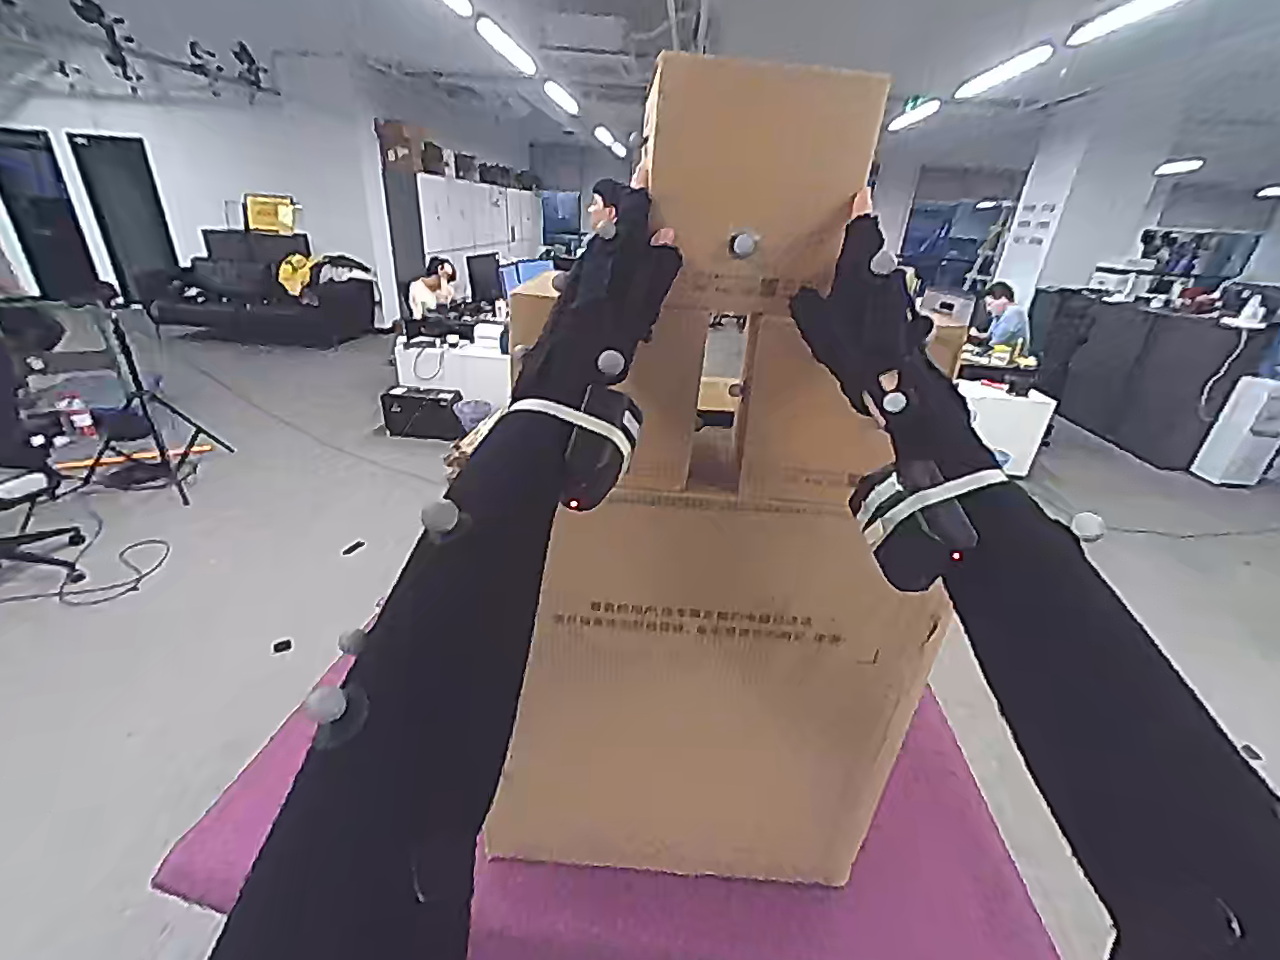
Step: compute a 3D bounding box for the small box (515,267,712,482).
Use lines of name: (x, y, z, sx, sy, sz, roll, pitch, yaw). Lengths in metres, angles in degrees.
small box: (-0.025, -0.113, 0.543, 0.168, 0.176, 0.179, 5, 24, 0)

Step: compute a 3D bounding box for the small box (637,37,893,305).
small box: (0.086, -0.255, 0.479, 0.168, 0.176, 0.179, 3, 26, -4)

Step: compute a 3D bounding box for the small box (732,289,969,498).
small box: (0.185, -0.094, 0.537, 0.168, 0.176, 0.179, 6, 24, 5)
